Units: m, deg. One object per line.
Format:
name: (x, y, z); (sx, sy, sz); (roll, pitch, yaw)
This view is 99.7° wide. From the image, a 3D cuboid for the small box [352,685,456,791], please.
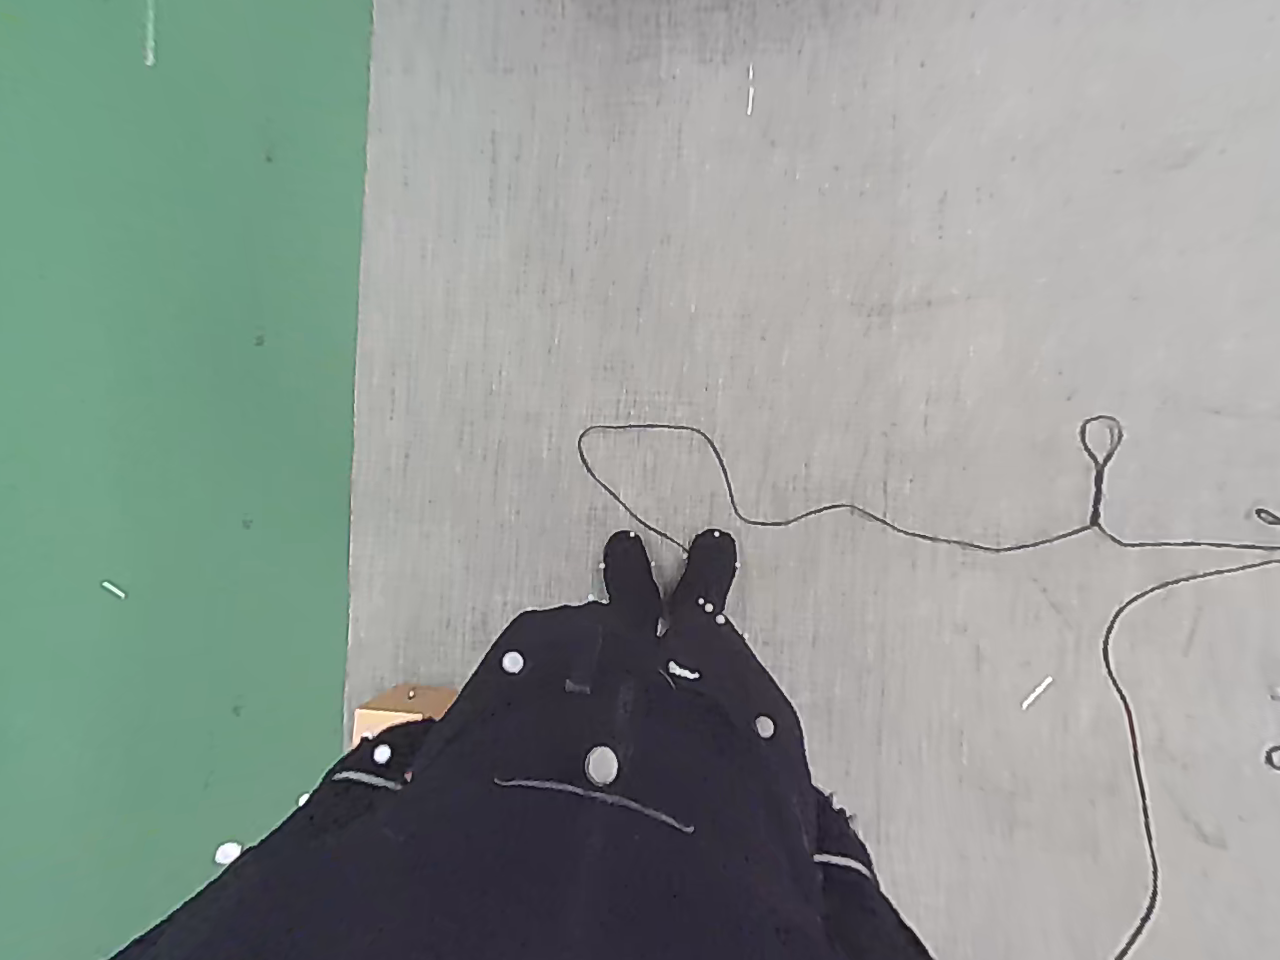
small box: (-0.555, 0.606, 1.294); (0.168, 0.176, 0.179); (2, 88, 8)
